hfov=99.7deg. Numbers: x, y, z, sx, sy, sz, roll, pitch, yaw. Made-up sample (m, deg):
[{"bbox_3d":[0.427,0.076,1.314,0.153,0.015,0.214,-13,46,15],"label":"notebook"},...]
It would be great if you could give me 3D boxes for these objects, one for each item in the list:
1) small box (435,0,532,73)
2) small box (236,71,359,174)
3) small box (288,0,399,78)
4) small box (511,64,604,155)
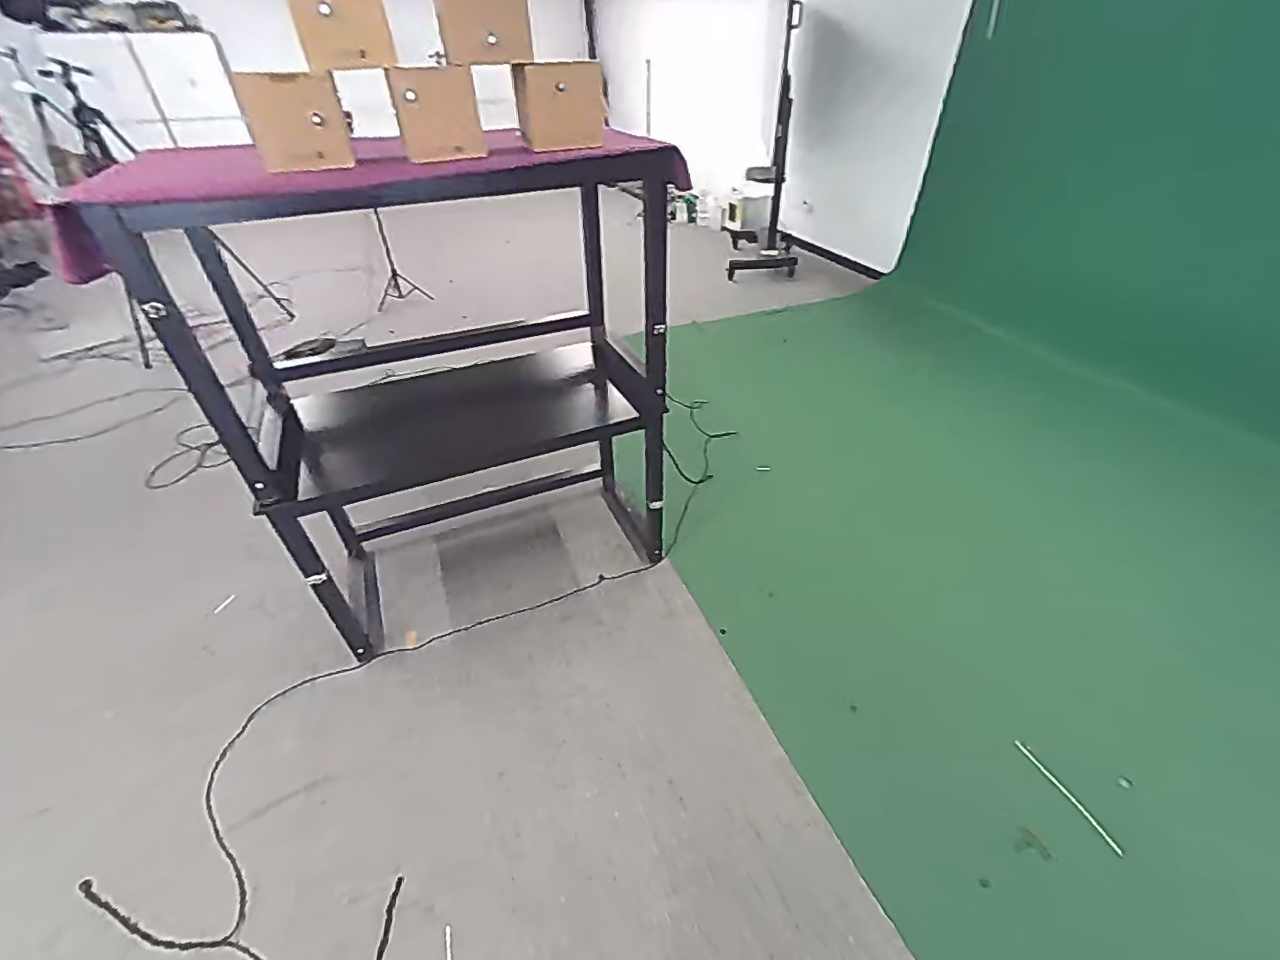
[{"bbox_3d":[-0.334,-0.980,1.154,0.179,0.176,0.168,-14,39,-16],"label":"small box"},{"bbox_3d":[-0.702,-0.746,1.130,0.168,0.176,0.179,-14,39,-17],"label":"small box"},{"bbox_3d":[-0.593,-0.913,1.079,0.168,0.176,0.179,-17,40,-17],"label":"small box"},{"bbox_3d":[-0.196,-0.889,1.299,0.179,0.176,0.168,-15,40,-17],"label":"small box"}]
